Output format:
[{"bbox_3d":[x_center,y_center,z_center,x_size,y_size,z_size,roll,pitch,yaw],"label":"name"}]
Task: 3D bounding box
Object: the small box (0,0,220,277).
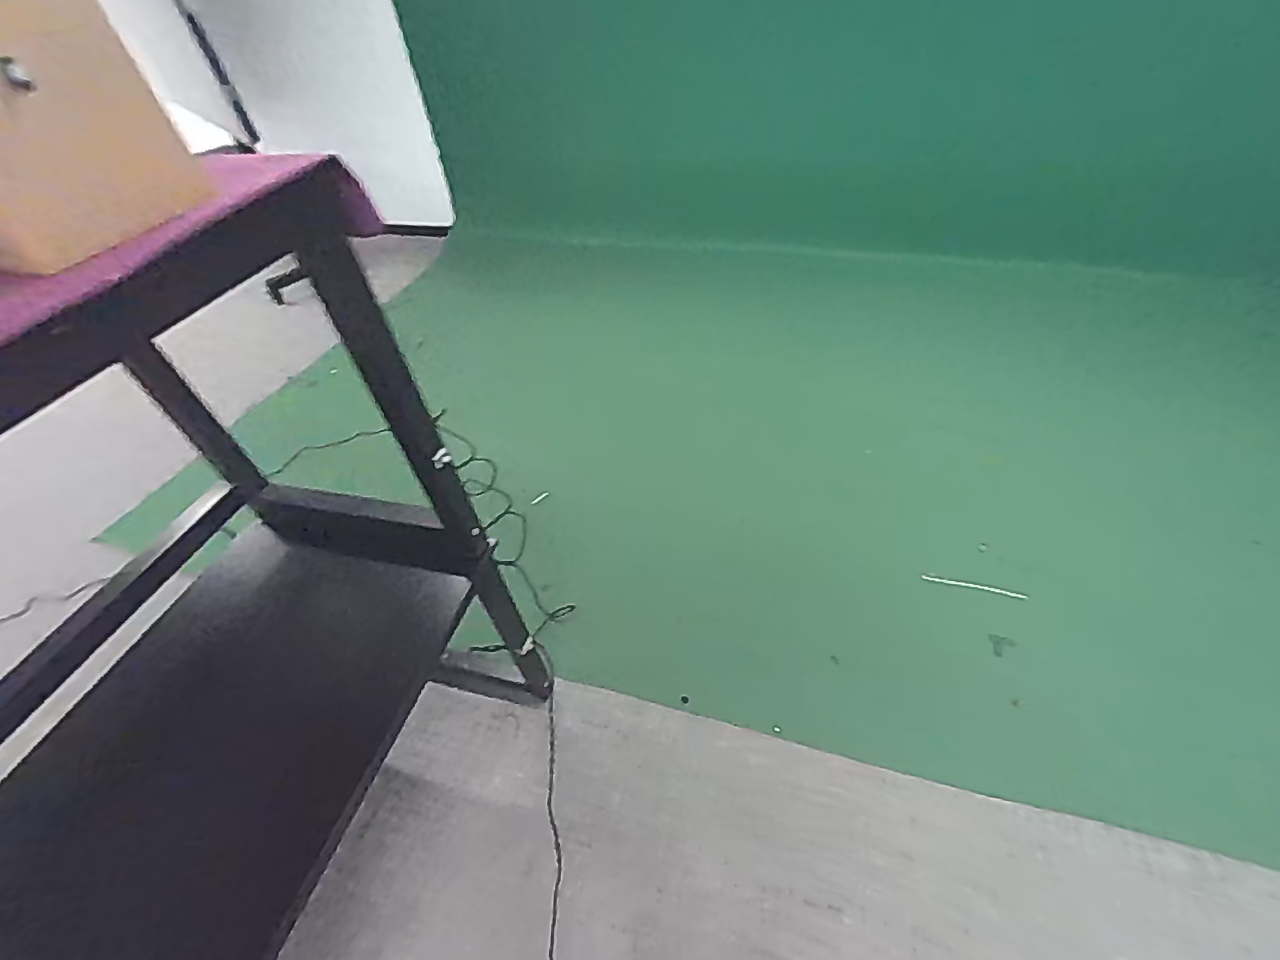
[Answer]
[{"bbox_3d":[-0.537,-0.297,0.475,0.168,0.176,0.179,12,49,16],"label":"small box"}]
